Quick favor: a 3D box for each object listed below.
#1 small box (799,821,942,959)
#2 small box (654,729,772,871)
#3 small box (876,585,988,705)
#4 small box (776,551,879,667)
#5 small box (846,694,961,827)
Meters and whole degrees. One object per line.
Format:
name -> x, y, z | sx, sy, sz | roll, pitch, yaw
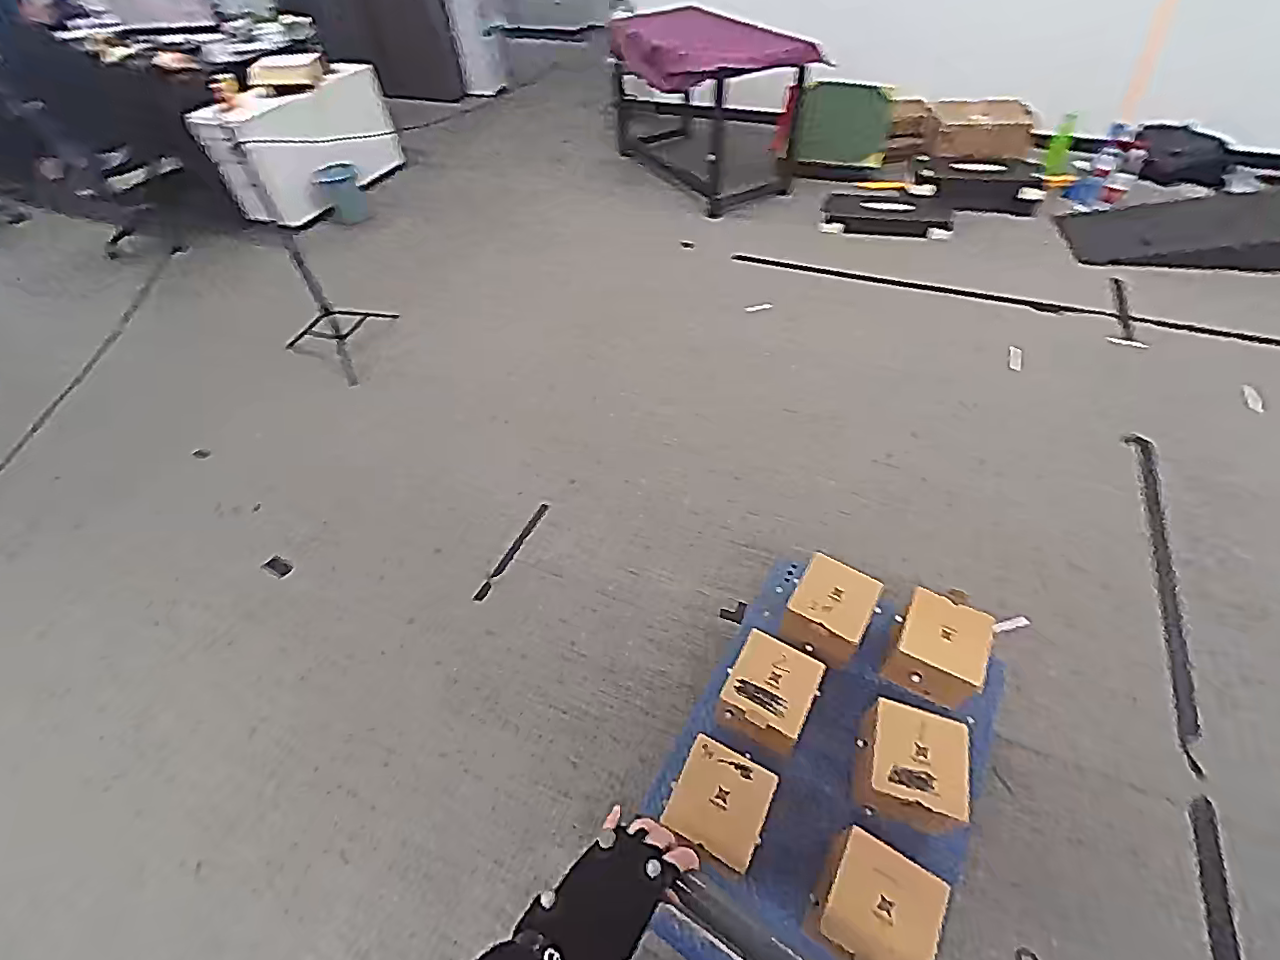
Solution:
small box -> 0.395, 0.746, 0.952 | 0.168, 0.176, 0.179 | 26, 56, 22
small box -> 0.142, 0.630, 1.058 | 0.168, 0.176, 0.179 | 23, 56, 19
small box -> 0.657, 0.380, 1.233 | 0.168, 0.176, 0.179 | 23, 56, 20
small box -> 0.441, 0.311, 1.297 | 0.168, 0.176, 0.179 | 27, 58, 23
small box -> 0.523, 0.568, 1.087 | 0.168, 0.176, 0.179 | 15, 53, 15
